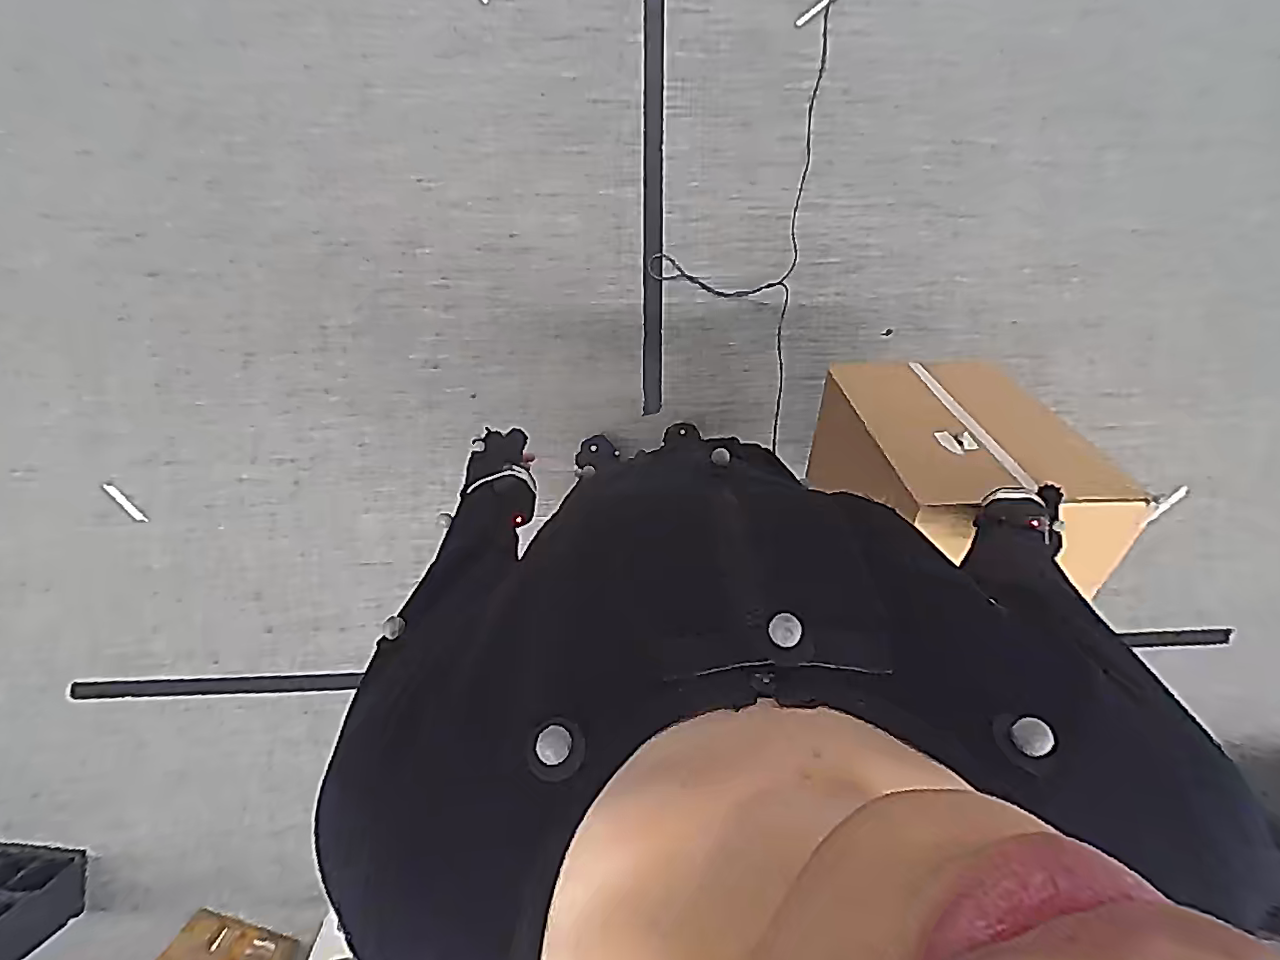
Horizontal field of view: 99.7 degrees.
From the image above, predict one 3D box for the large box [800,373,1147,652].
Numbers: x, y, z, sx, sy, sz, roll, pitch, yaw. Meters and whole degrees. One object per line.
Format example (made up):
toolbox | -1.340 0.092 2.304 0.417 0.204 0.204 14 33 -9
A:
large box | 0.510 0.042 0.954 0.320 0.408 0.320 -2 128 -1
